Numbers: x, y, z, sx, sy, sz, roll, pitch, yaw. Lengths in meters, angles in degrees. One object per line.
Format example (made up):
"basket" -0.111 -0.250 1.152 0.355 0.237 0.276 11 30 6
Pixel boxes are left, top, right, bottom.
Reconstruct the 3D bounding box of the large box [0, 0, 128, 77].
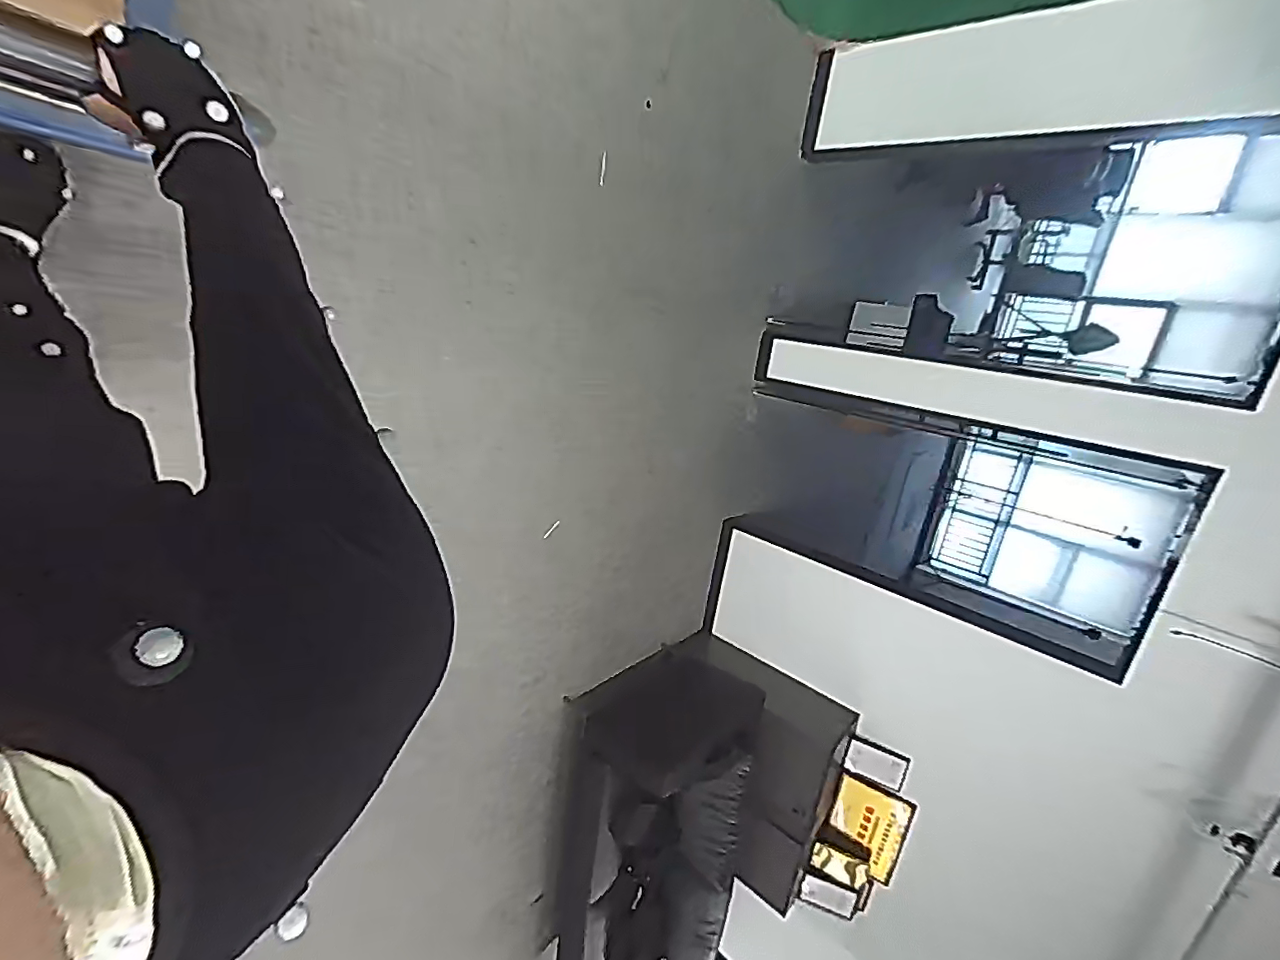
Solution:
"large box" -0.872 -0.803 0.653 0.320 0.320 0.408 -8 113 -50
